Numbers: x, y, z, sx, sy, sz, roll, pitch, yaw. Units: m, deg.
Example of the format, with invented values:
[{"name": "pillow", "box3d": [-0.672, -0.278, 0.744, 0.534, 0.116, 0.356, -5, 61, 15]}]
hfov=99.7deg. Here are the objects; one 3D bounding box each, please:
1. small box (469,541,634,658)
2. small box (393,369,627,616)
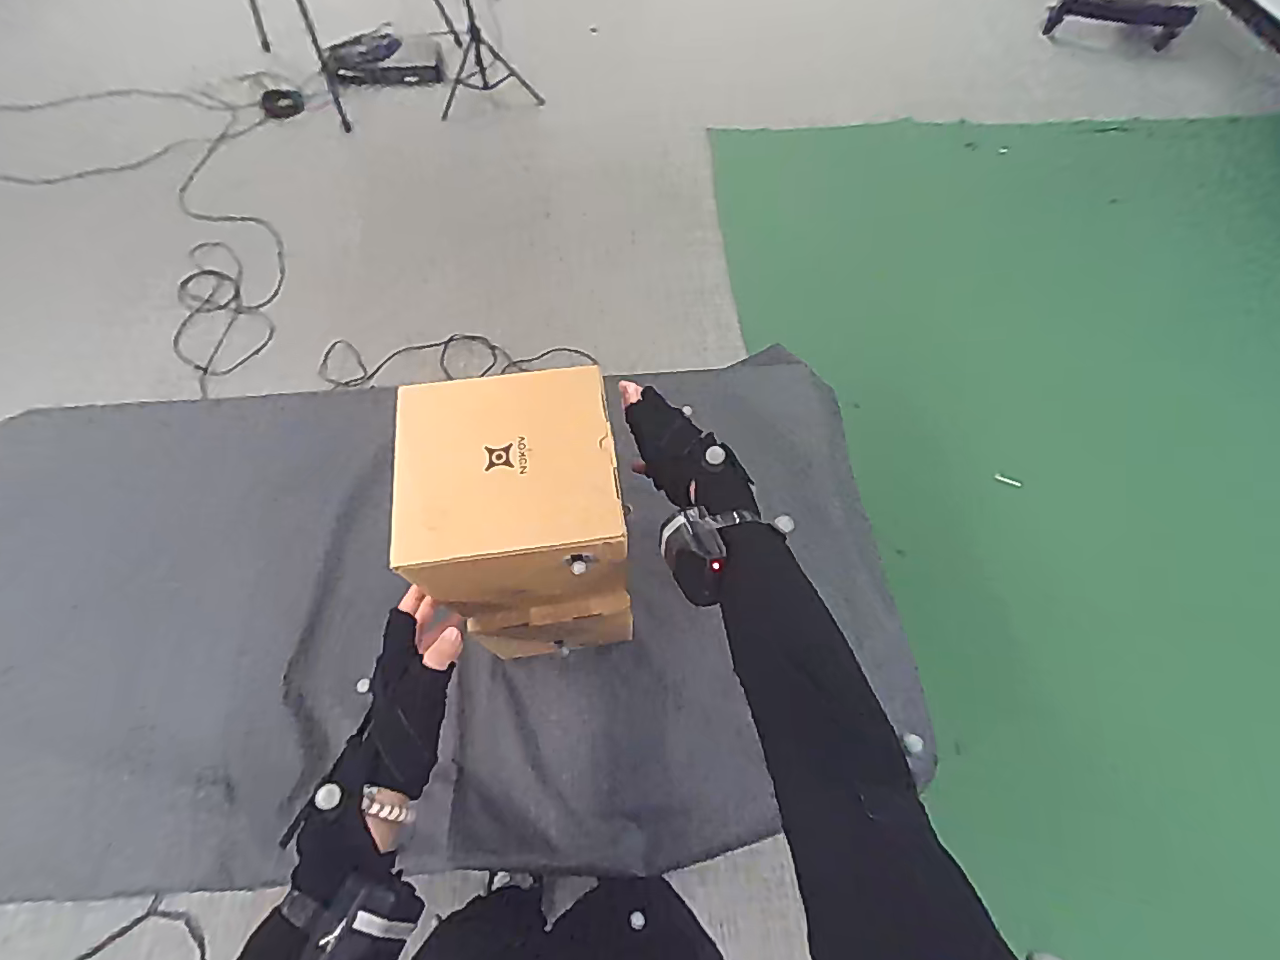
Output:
[{"name": "small box", "box3d": [-0.100, 0.102, 0.646, 0.168, 0.176, 0.179, -6, 64, -4]}, {"name": "small box", "box3d": [-0.107, 0.020, 0.506, 0.179, 0.176, 0.168, -7, 63, -6]}]
